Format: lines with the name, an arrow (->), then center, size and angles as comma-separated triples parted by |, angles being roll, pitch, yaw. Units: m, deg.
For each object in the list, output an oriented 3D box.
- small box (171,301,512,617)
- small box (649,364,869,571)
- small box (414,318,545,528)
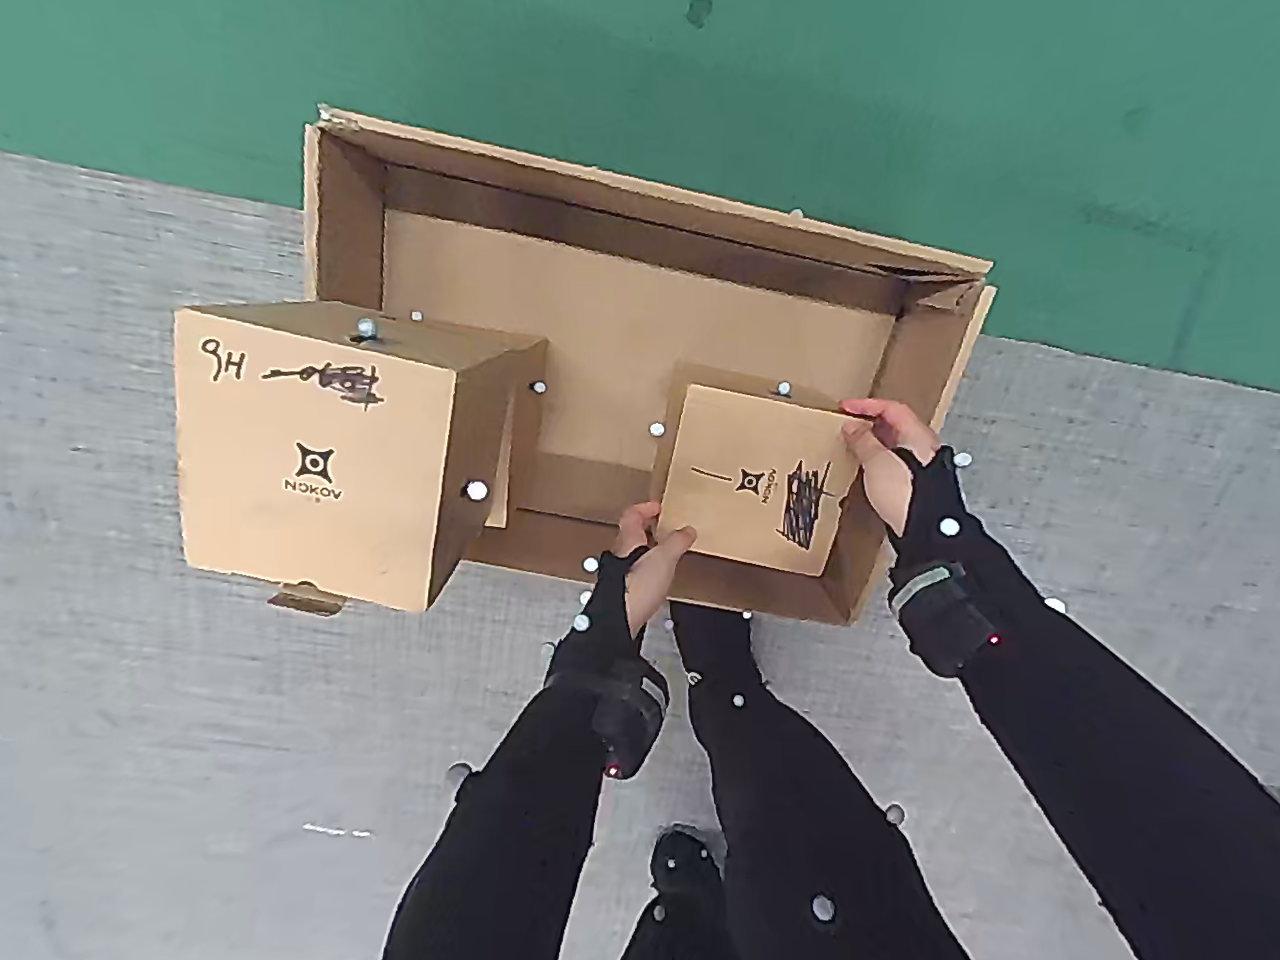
small box -> -0.206, -0.029, 0.416 | 0.168, 0.176, 0.179 | 13, 110, -5
small box -> 0.111, -0.024, 0.595 | 0.179, 0.176, 0.168 | 11, 110, -4
small box -> -0.200, -0.071, 0.575 | 0.168, 0.176, 0.179 | 8, 110, -3
